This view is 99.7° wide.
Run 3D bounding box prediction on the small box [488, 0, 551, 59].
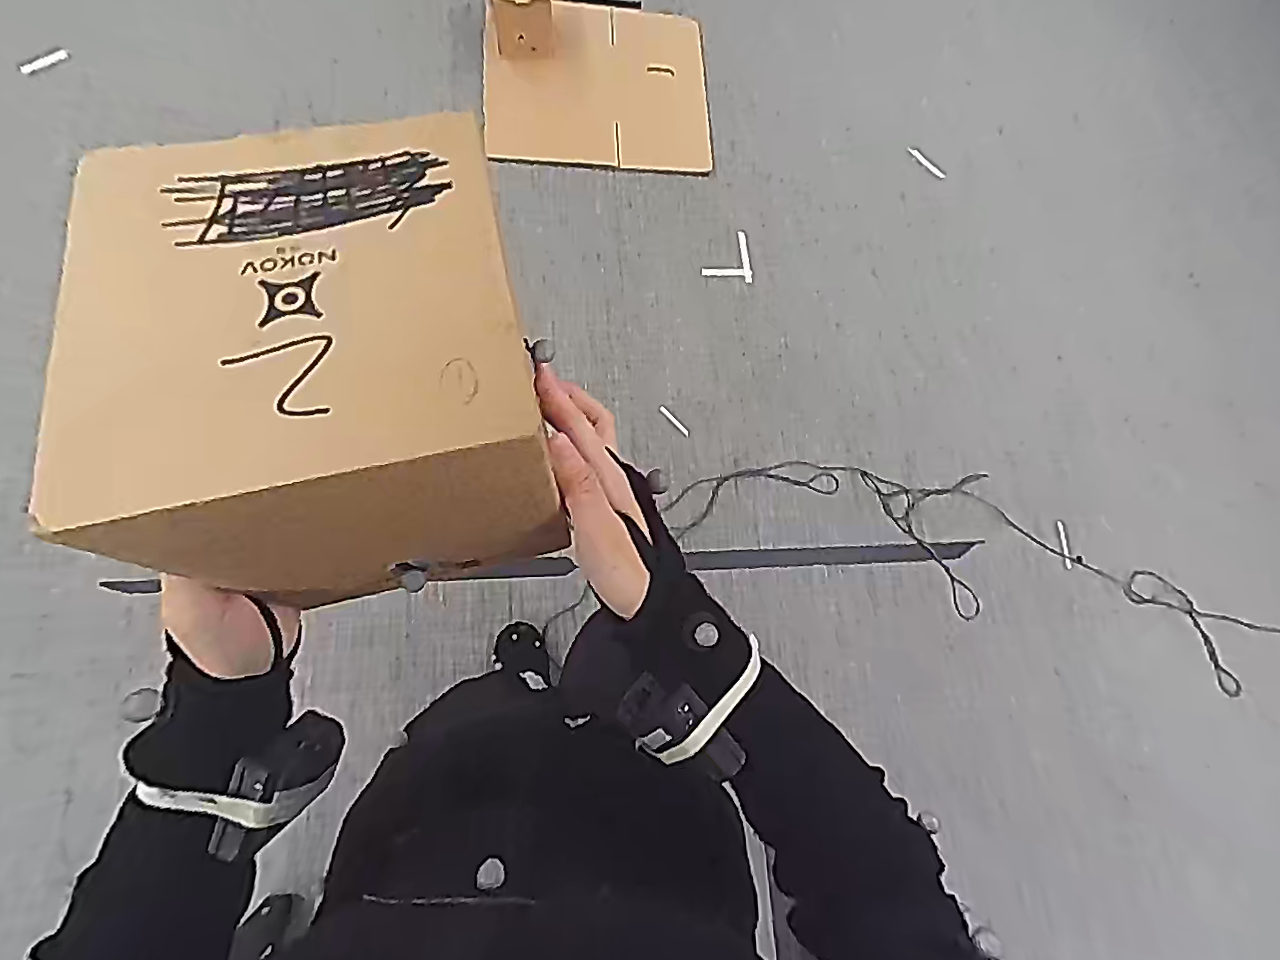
[{"bbox_3d":[-0.363,-1.410,1.617,0.168,0.176,0.179,-11,79,-10],"label":"small box"}]
